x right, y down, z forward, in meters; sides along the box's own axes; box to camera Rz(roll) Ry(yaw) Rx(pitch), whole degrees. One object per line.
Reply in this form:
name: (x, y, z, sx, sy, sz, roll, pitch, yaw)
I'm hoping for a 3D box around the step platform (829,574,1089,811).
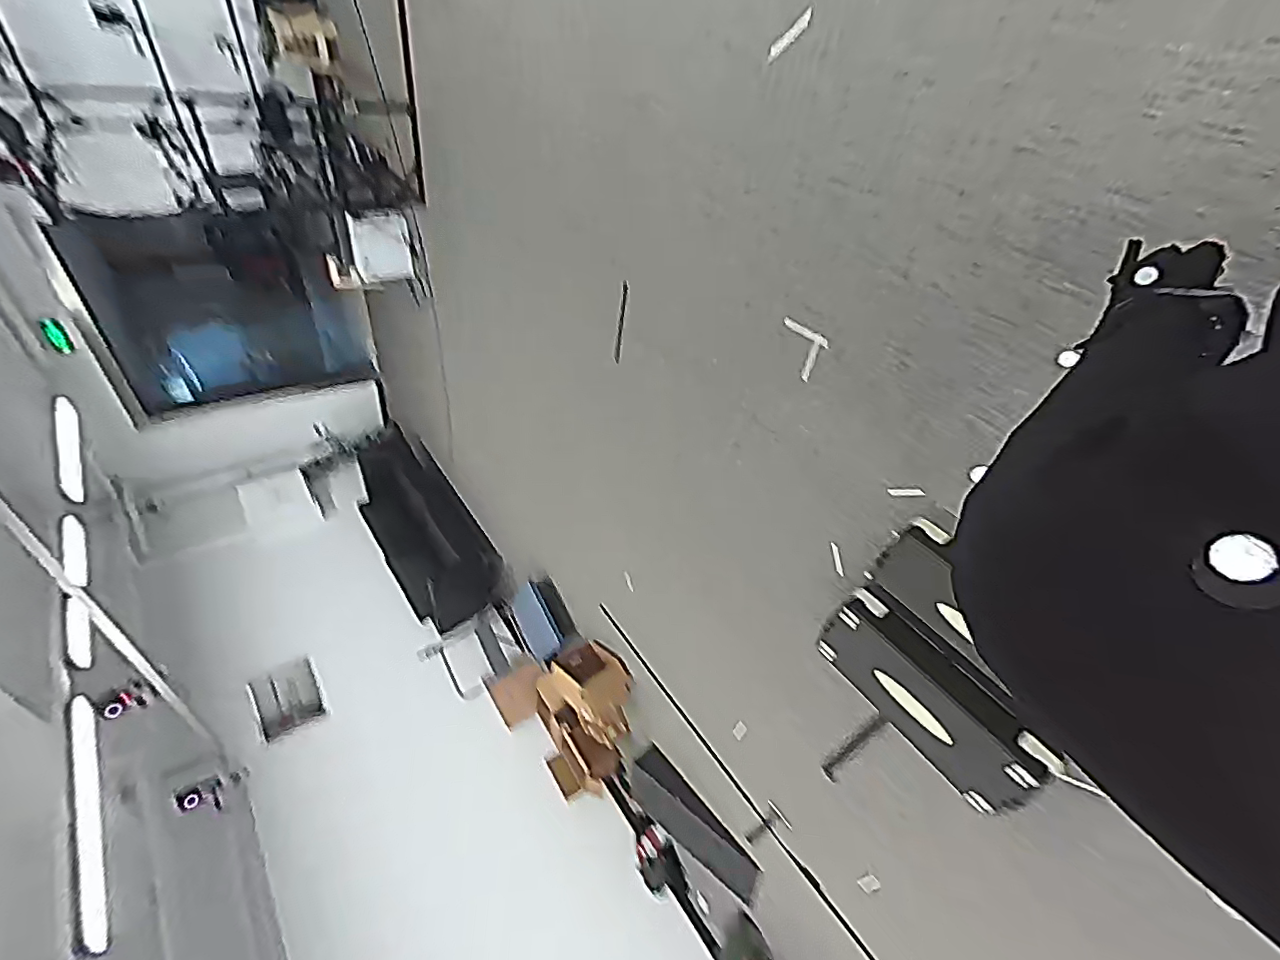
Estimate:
step platform: (0.913, 0.620, 1.637, 0.684, 0.204, 0.286, 46, 142, 33)
